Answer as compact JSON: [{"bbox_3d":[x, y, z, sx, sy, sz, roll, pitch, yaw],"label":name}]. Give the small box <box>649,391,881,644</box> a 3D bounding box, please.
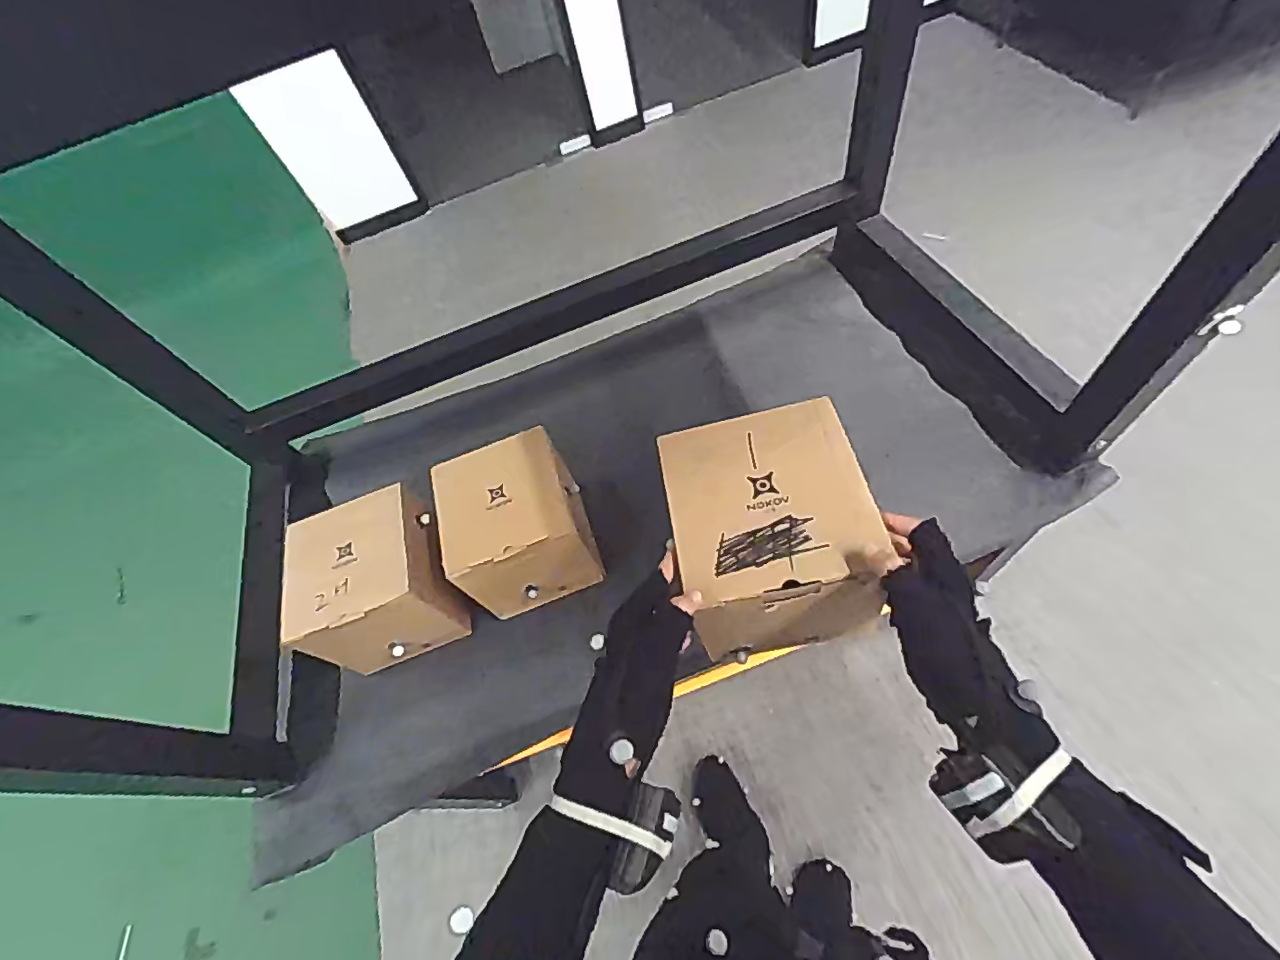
[{"bbox_3d":[0.115,0.048,0.527,0.168,0.176,0.179,-13,55,7],"label":"small box"}]
